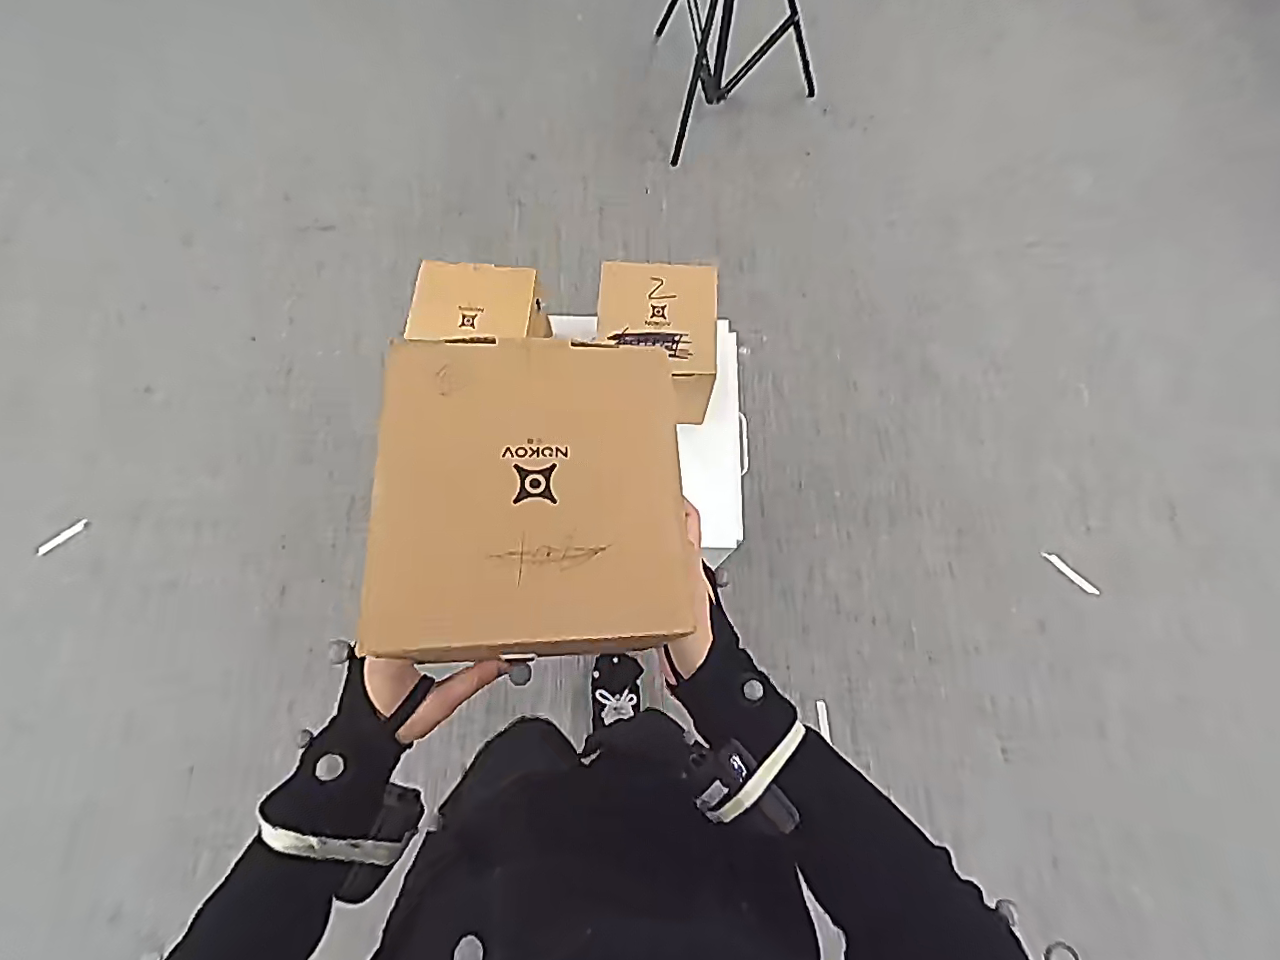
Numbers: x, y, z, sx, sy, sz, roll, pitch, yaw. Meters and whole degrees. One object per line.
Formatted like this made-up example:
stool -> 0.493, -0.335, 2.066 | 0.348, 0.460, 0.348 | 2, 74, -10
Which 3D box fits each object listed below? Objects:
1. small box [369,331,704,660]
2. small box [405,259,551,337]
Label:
small box -> -0.066, 0.022, 0.368 | 0.168, 0.176, 0.179 | -2, 70, -10
small box -> -0.231, -0.198, 0.808 | 0.168, 0.176, 0.179 | 4, 73, 0
